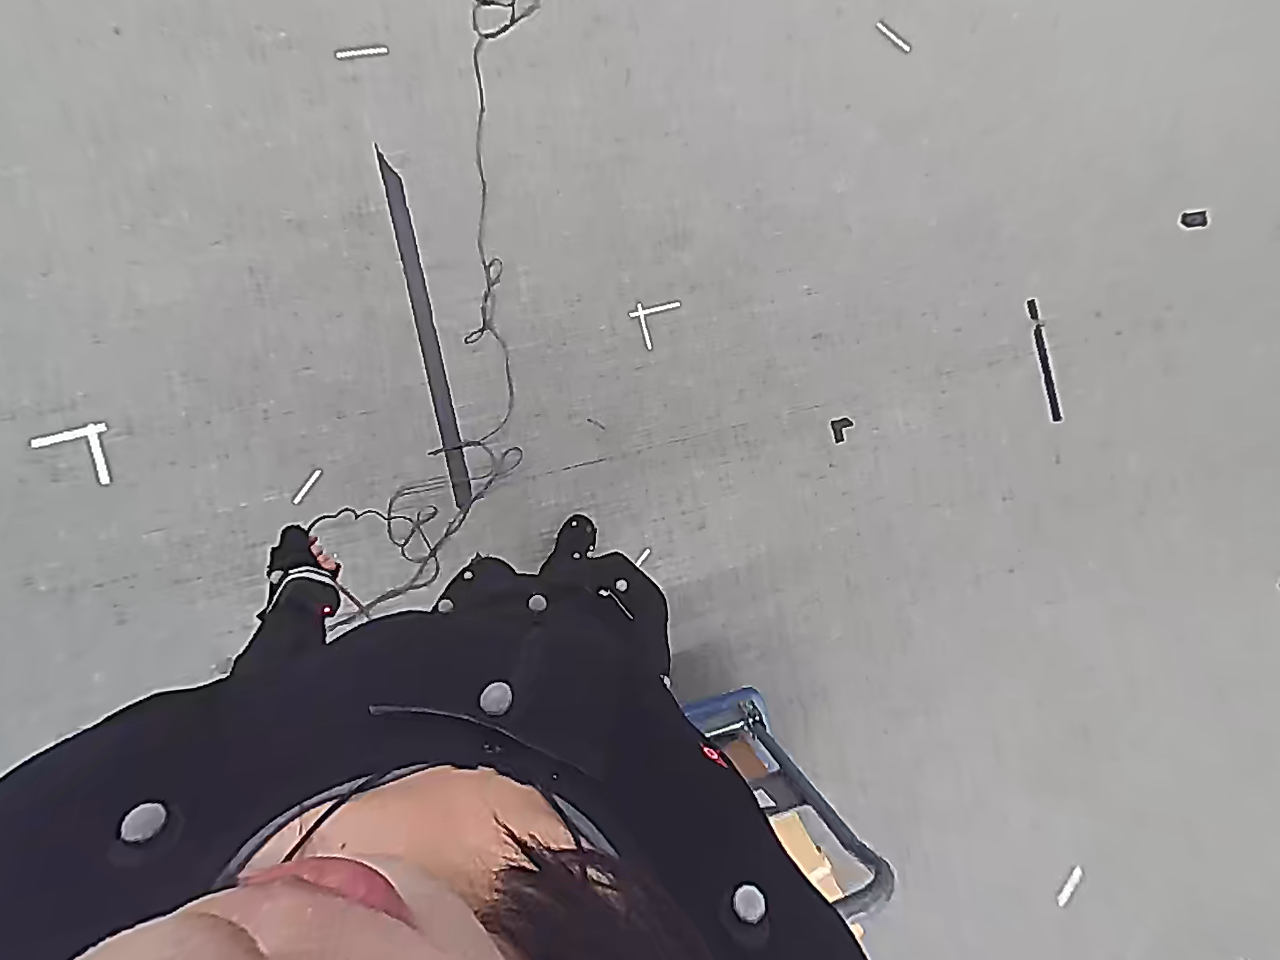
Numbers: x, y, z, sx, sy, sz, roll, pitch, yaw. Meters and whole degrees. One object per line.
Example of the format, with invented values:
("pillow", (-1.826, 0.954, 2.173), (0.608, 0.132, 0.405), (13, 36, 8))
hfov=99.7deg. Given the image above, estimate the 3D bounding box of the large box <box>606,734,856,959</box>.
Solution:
("large box", (0.174, 0.857, 1.196), (0.408, 0.320, 0.320), (-30, 90, -7))
